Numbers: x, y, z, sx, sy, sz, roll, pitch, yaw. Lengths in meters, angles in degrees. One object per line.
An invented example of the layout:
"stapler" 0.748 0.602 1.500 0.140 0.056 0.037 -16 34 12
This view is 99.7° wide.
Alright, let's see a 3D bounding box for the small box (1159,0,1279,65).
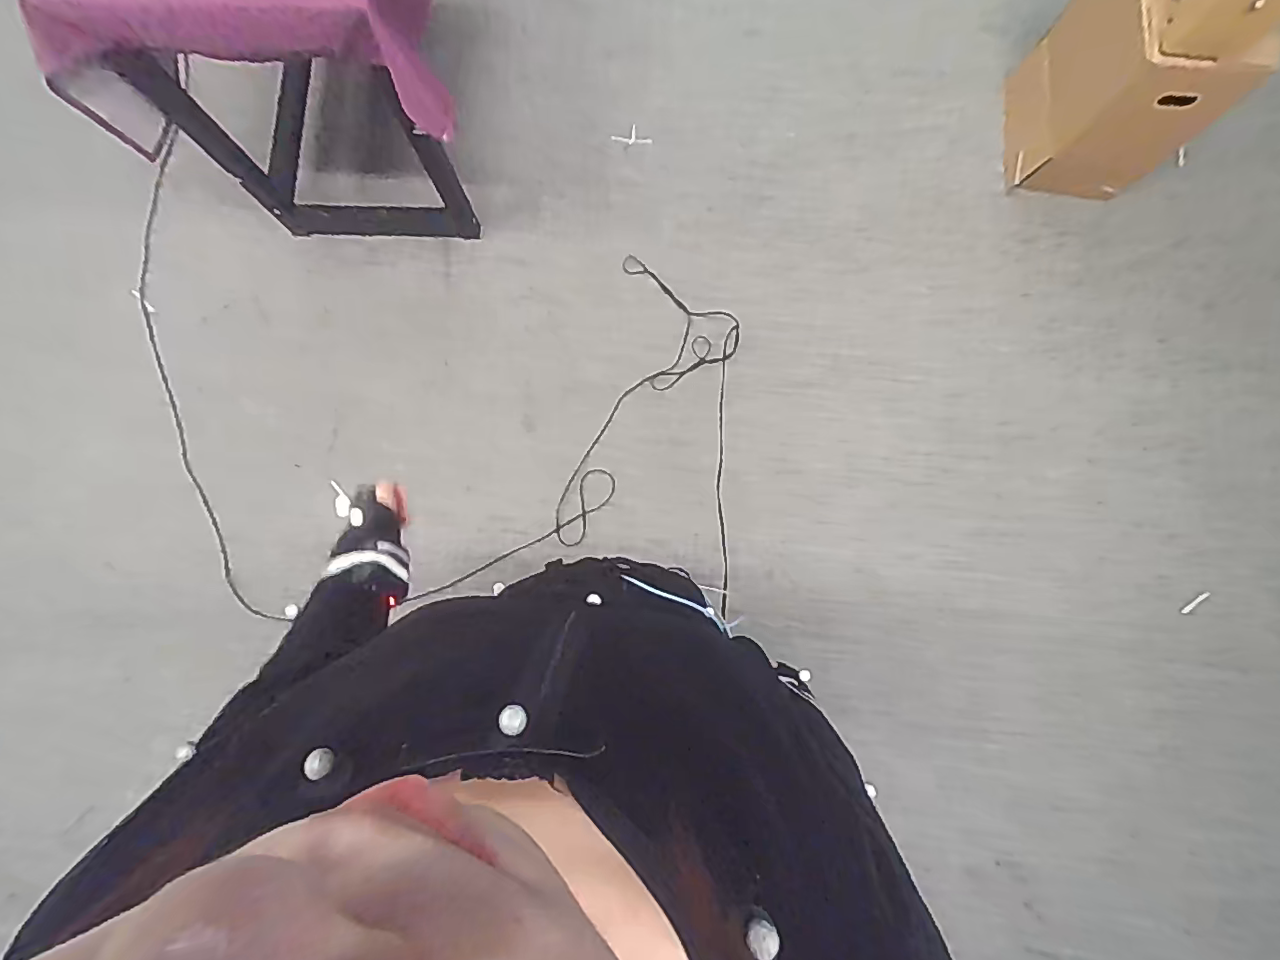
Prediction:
"small box" 1.294 -1.049 1.174 0.179 0.176 0.168 7 81 0
